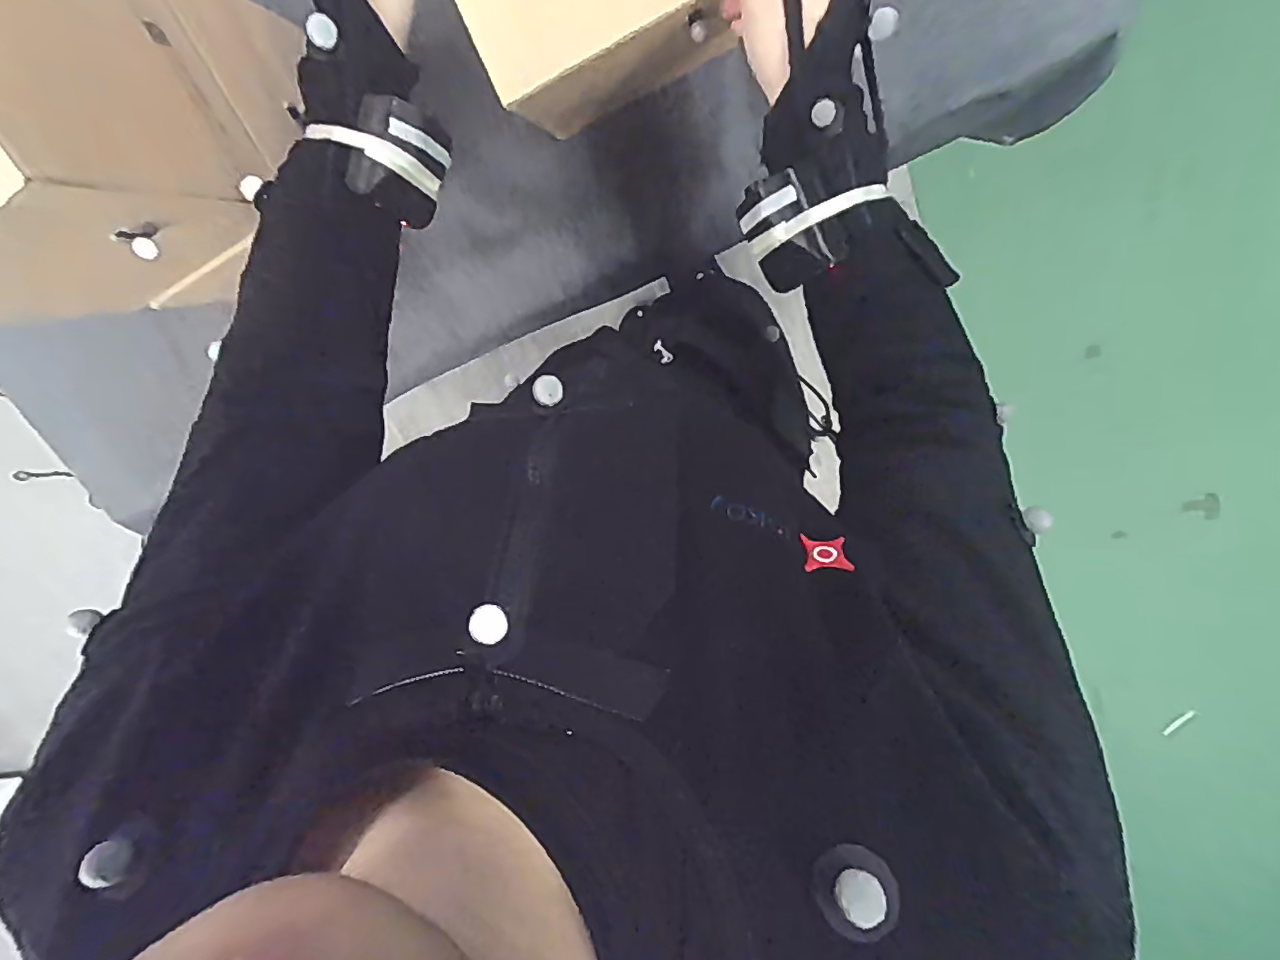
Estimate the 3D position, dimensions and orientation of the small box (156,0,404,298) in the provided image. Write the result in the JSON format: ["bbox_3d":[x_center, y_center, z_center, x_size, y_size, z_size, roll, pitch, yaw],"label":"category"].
[{"bbox_3d":[-0.348,-0.277,0.464,0.168,0.176,0.179,-21,110,15],"label":"small box"}]

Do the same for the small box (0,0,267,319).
[{"bbox_3d":[-0.370,-0.209,0.318,0.179,0.176,0.168,-22,108,16],"label":"small box"}]
